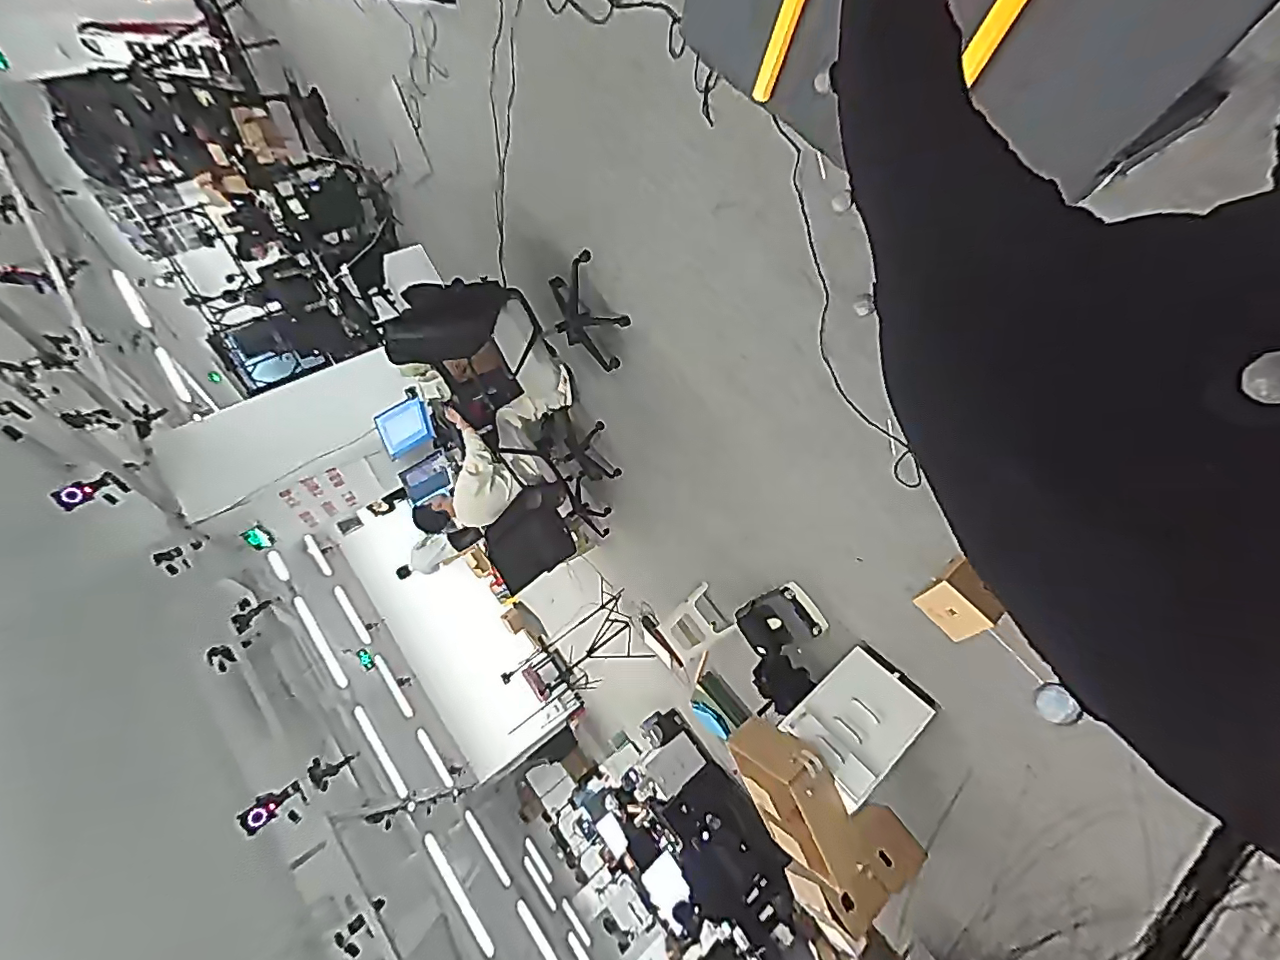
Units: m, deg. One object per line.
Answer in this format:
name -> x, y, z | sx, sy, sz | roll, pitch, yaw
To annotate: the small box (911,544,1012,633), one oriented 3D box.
small box -> 0.956, 0.319, 1.601 | 0.168, 0.176, 0.179 | 47, 155, 19
